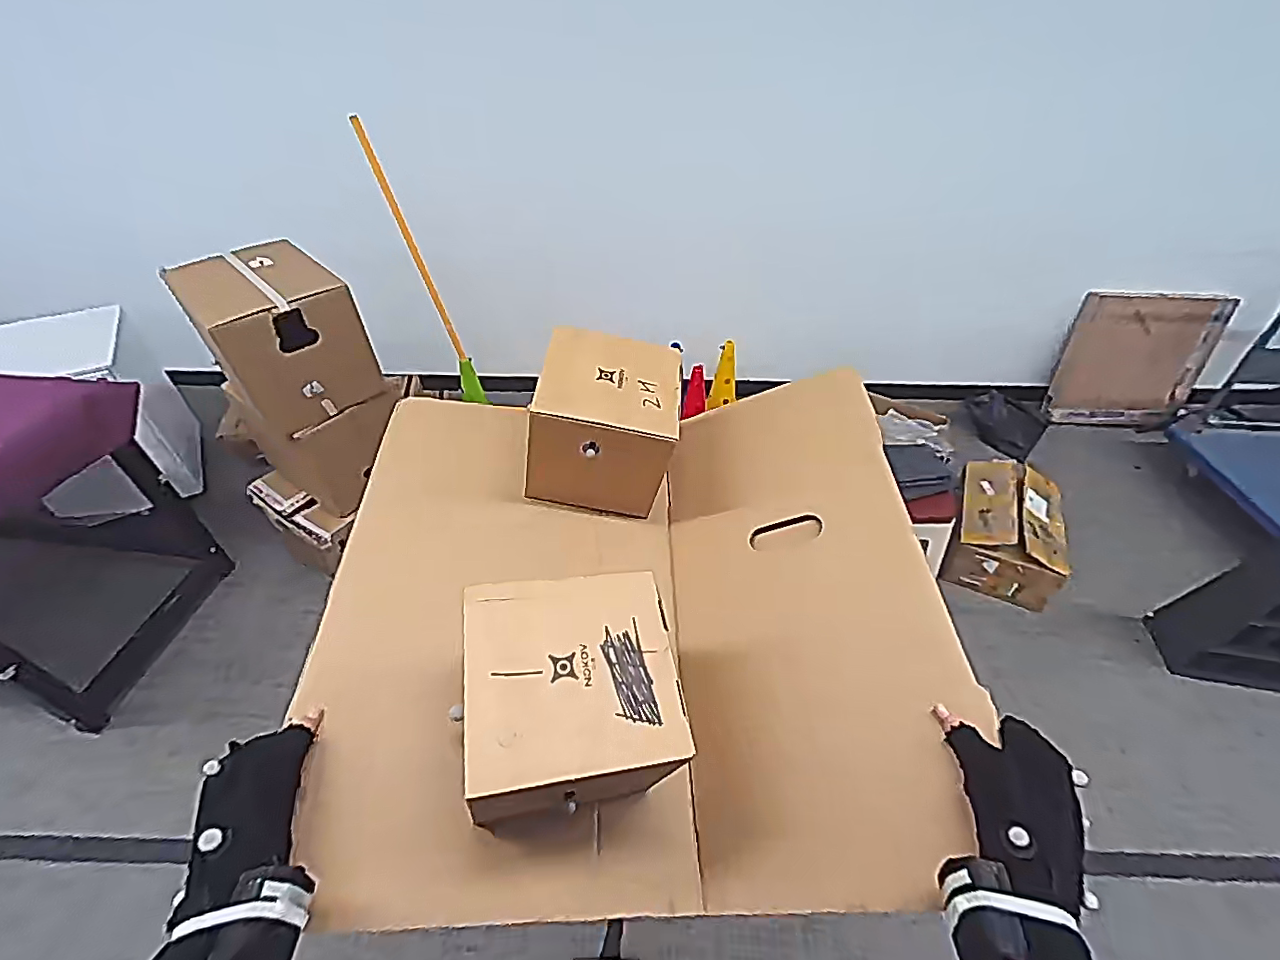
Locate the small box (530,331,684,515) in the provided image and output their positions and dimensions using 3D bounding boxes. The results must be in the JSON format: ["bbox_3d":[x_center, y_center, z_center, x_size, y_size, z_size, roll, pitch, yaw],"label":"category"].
[{"bbox_3d":[-0.048,-0.071,0.737,0.179,0.176,0.168,11,52,-7],"label":"small box"}]

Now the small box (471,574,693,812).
[{"bbox_3d":[-0.069,0.205,0.520,0.179,0.176,0.168,-2,54,-16],"label":"small box"}]
